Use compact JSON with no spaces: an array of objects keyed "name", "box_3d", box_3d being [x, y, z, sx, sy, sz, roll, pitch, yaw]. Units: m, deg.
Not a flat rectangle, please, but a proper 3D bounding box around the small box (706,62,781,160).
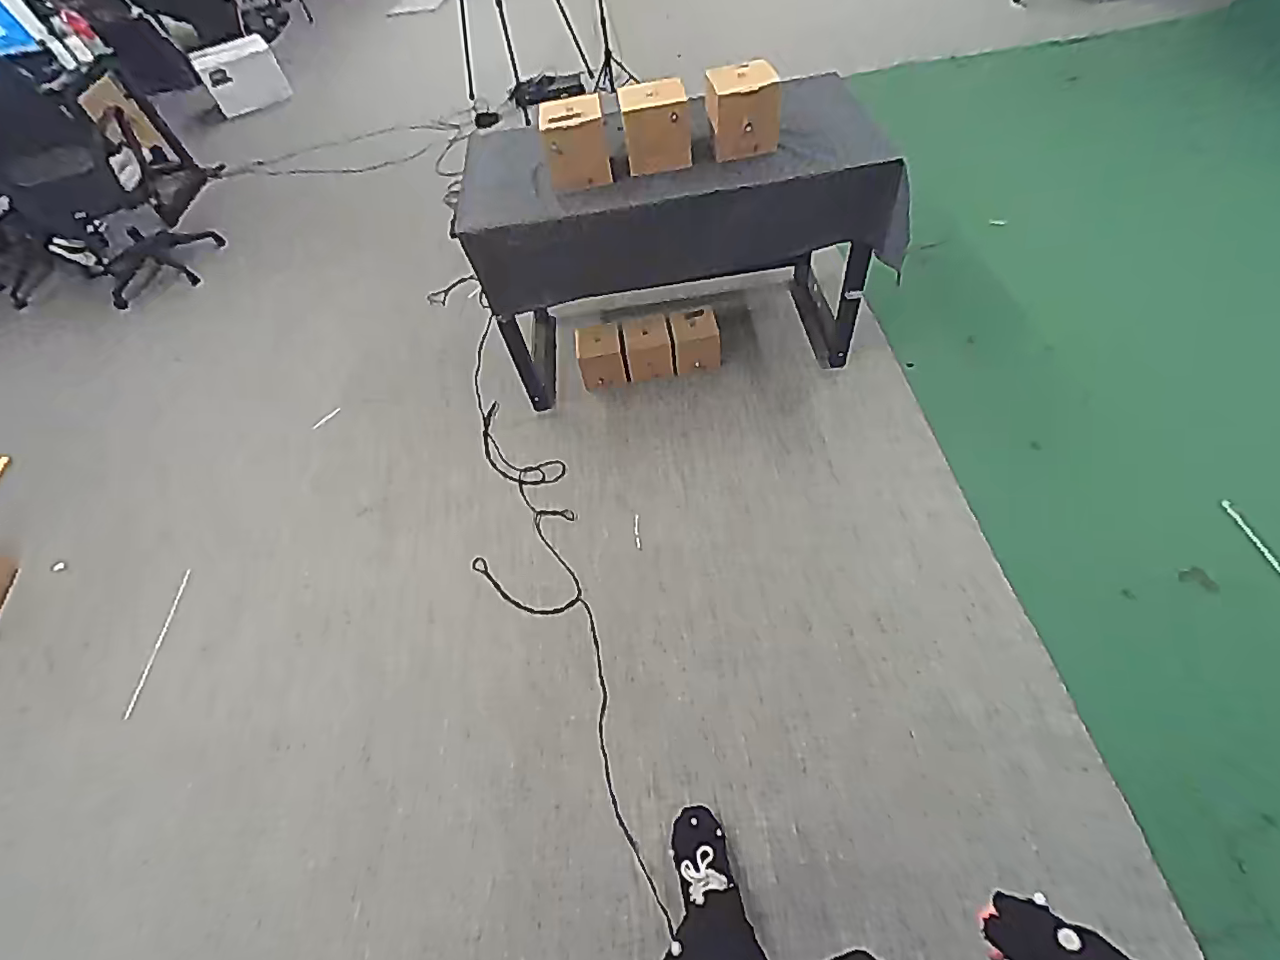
[{"name":"small box","box_3d":[0.279,-1.001,1.481,0.168,0.176,0.179,-9,54,2]}]
